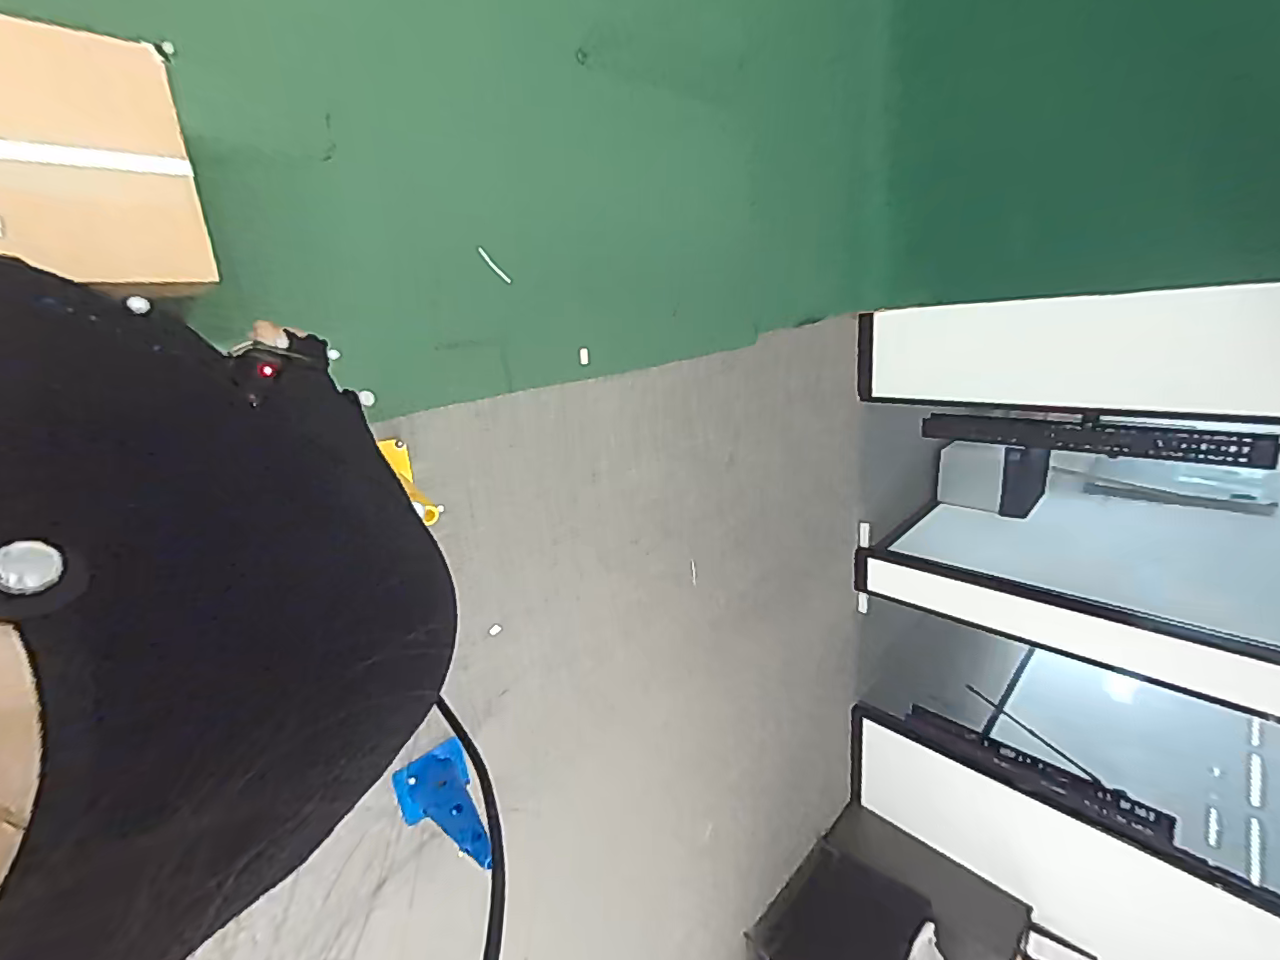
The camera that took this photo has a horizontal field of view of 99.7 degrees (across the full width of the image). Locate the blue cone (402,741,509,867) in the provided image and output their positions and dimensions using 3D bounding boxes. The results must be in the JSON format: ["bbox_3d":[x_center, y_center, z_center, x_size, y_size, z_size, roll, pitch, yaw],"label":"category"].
[{"bbox_3d":[-0.467,0.893,1.434,0.192,0.380,0.193,-20,113,-39],"label":"blue cone"}]
